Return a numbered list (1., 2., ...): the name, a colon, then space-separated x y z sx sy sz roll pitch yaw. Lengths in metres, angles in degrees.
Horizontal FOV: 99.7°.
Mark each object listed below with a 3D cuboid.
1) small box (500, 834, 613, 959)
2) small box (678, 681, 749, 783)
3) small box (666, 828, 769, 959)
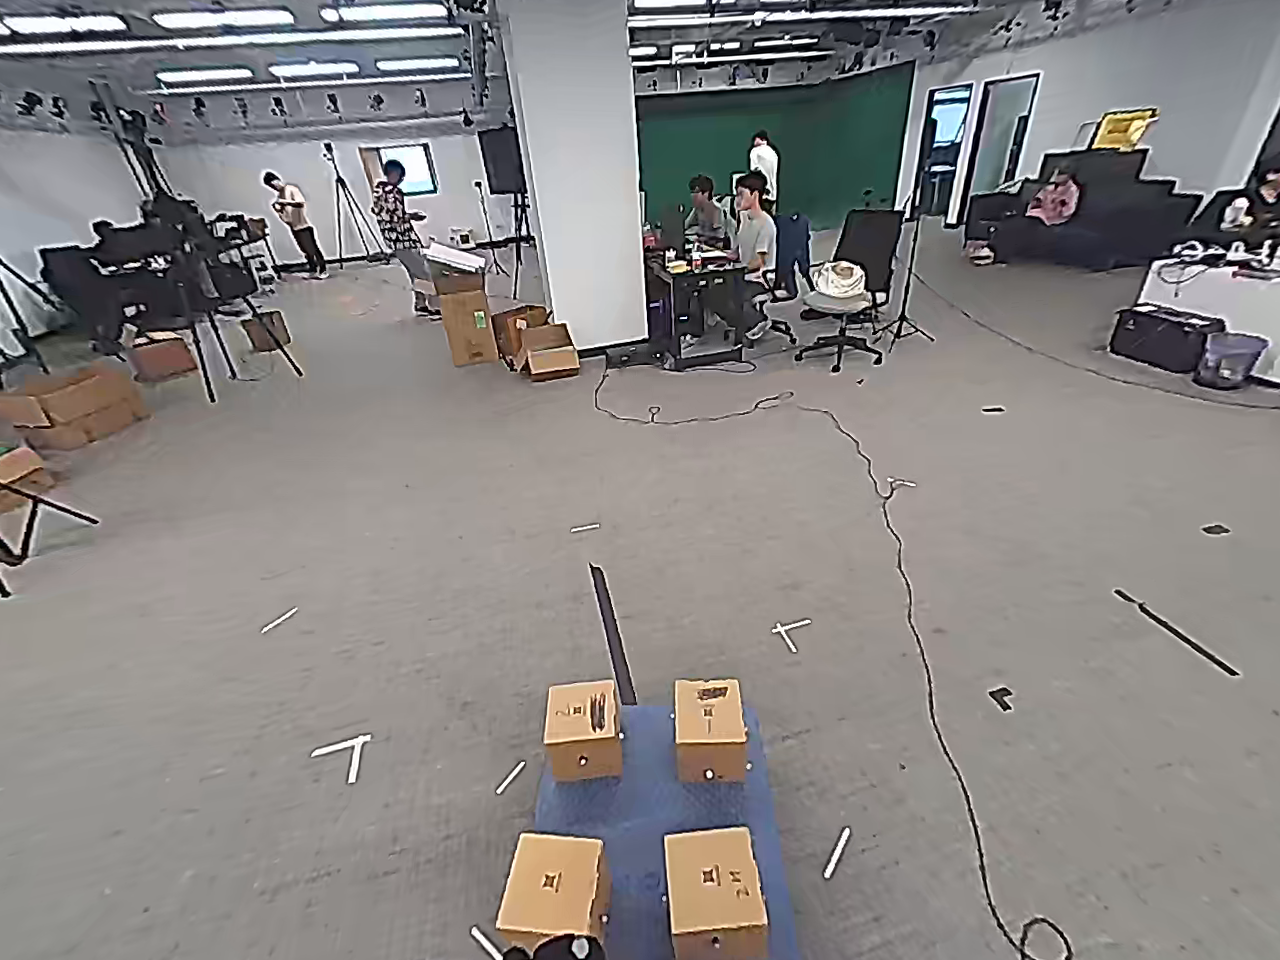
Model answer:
1. small box: -0.157 0.846 1.084 0.179 0.176 0.168 0 31 7
2. small box: 0.181 0.636 1.374 0.168 0.176 0.179 -3 32 5
3. small box: 0.151 0.824 1.067 0.179 0.176 0.168 -6 31 0
